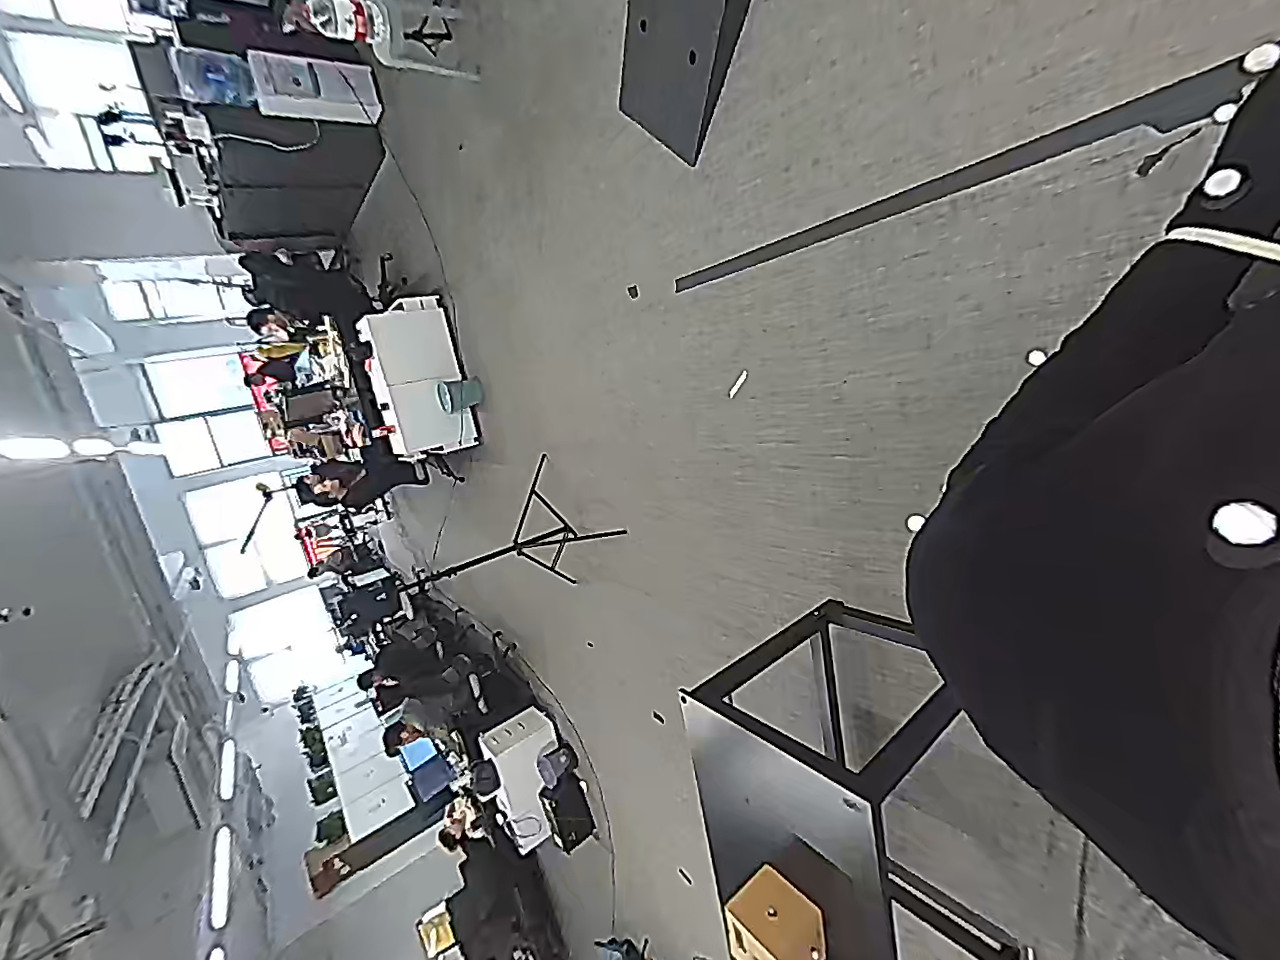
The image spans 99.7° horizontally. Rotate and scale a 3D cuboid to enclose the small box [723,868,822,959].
[{"bbox_3d":[0.336,1.135,1.368,0.179,0.176,0.168,11,115,51],"label":"small box"}]
